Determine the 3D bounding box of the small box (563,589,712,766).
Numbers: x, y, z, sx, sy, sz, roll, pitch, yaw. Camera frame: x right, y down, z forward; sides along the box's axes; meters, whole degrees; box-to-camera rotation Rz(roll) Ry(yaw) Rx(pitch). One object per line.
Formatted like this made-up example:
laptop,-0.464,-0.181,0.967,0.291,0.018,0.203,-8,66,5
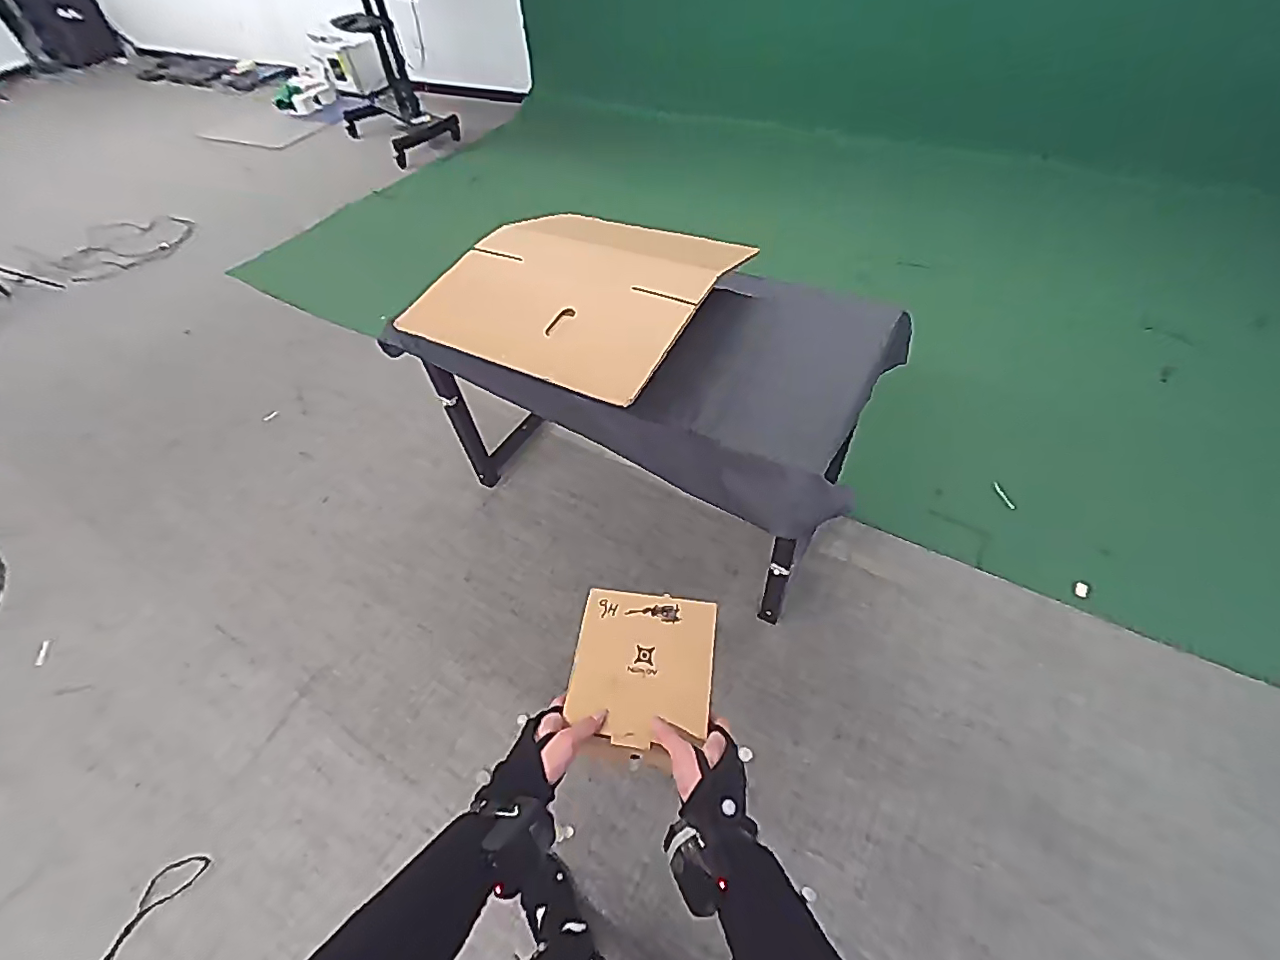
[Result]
small box,0.007,0.264,0.714,0.168,0.176,0.179,3,53,6
